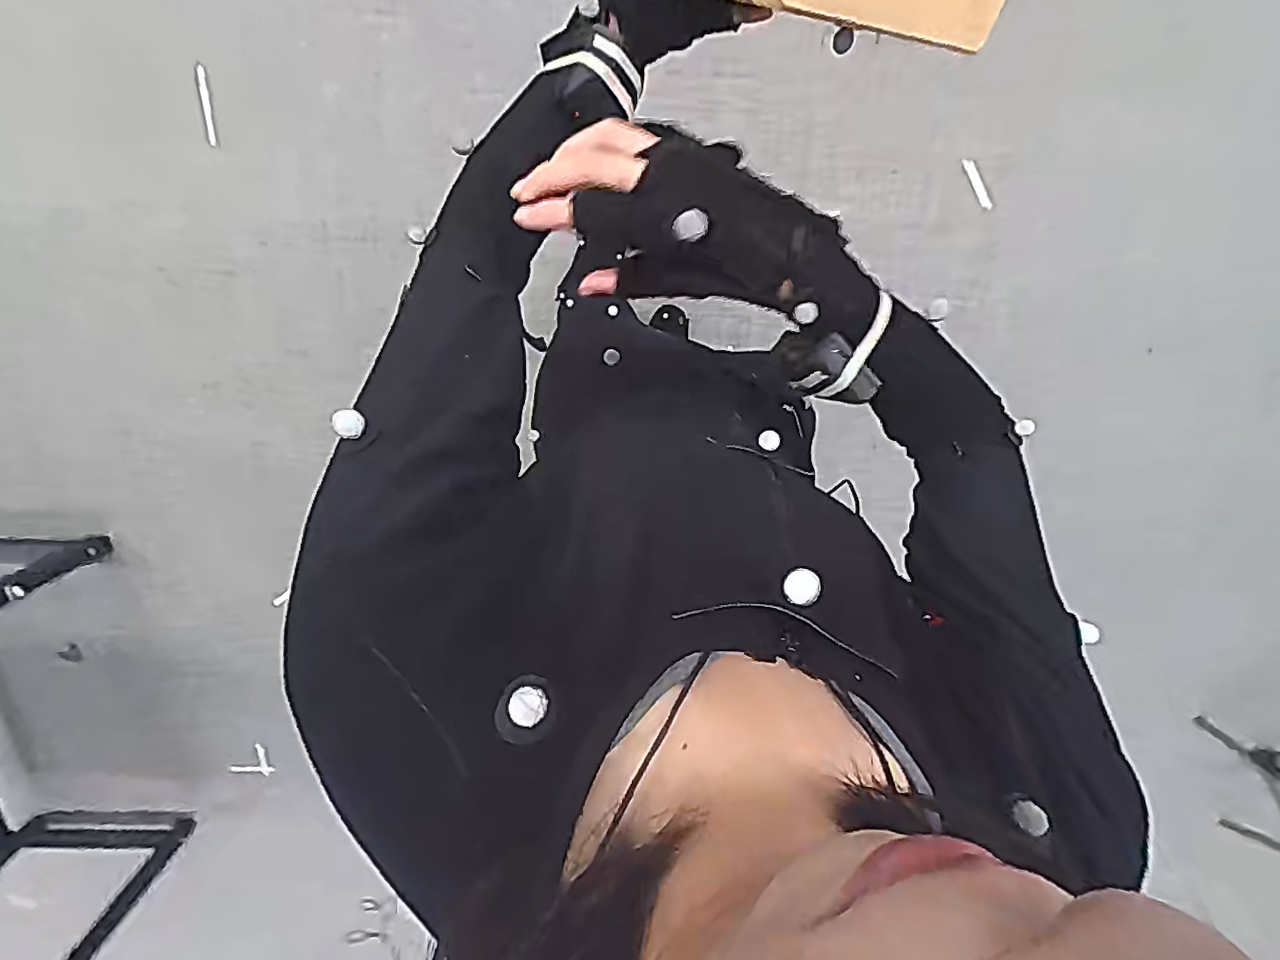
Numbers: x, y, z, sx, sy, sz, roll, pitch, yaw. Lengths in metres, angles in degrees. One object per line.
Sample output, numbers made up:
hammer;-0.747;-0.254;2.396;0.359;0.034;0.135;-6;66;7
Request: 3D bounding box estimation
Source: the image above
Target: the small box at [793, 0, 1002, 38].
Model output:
small box;0.144;-0.402;0.326;0.176;0.168;0.179;-6;135;-19
